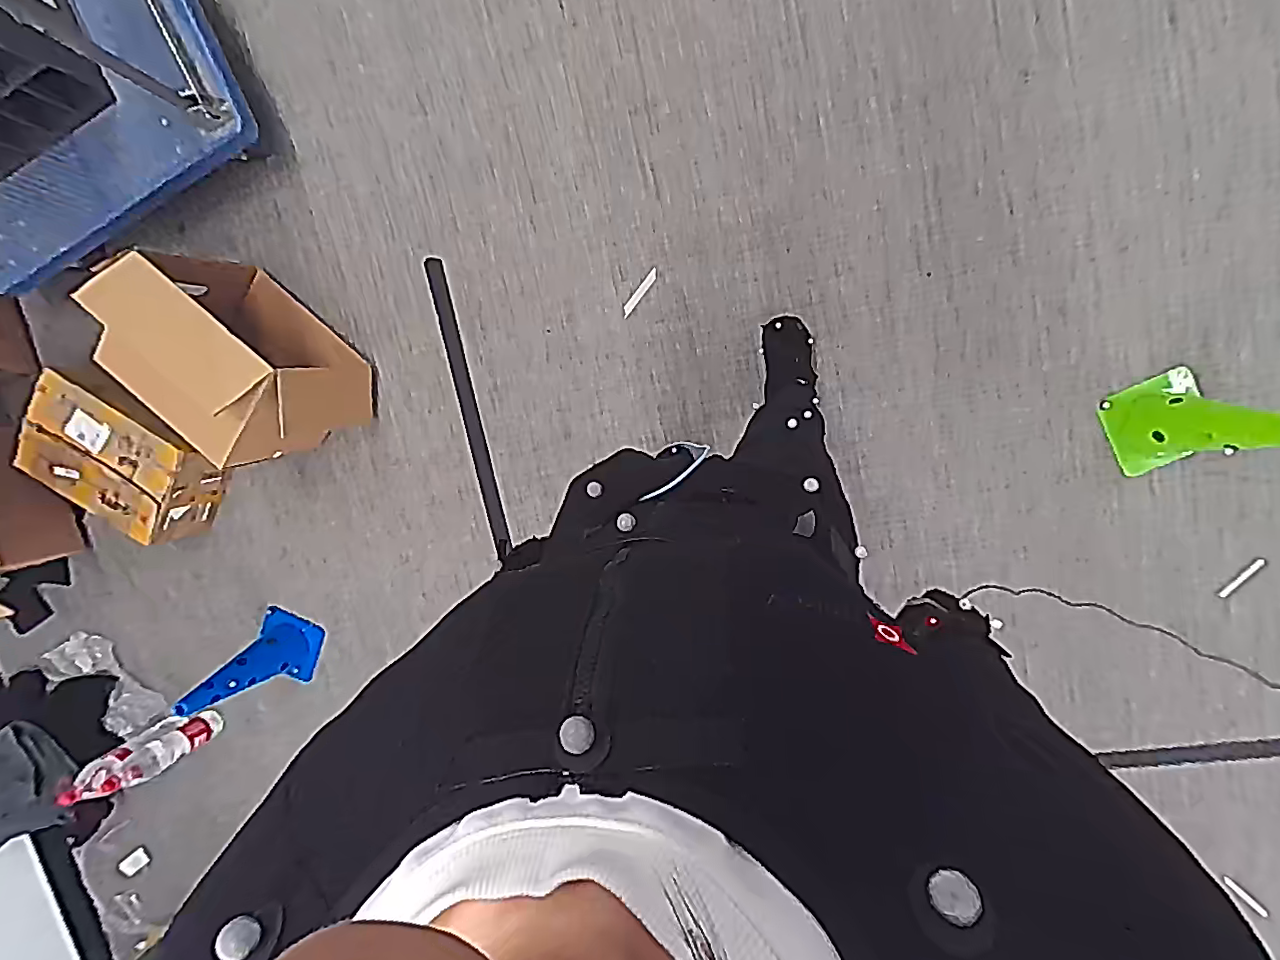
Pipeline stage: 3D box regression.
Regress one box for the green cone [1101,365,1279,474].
[{"bbox_3d":[1.162,-0.108,1.065,0.202,0.368,0.200,-27,95,10],"label":"green cone"}]
